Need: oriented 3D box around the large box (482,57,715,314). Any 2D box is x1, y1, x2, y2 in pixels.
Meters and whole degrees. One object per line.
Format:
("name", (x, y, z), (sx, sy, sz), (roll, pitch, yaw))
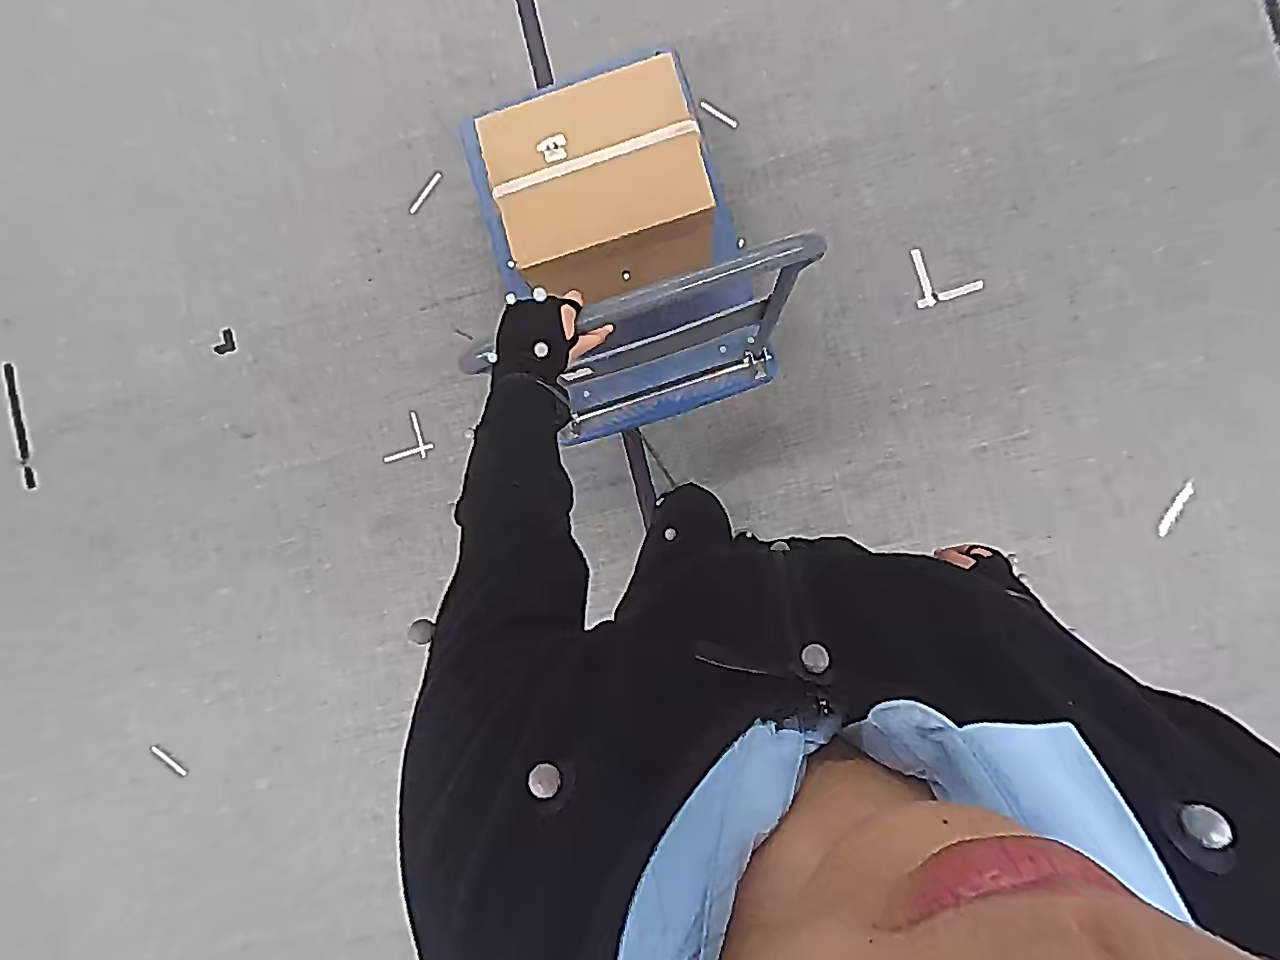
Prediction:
("large box", (-0.070, -0.614, 1.202), (0.408, 0.320, 0.320), (-16, 87, 6))
